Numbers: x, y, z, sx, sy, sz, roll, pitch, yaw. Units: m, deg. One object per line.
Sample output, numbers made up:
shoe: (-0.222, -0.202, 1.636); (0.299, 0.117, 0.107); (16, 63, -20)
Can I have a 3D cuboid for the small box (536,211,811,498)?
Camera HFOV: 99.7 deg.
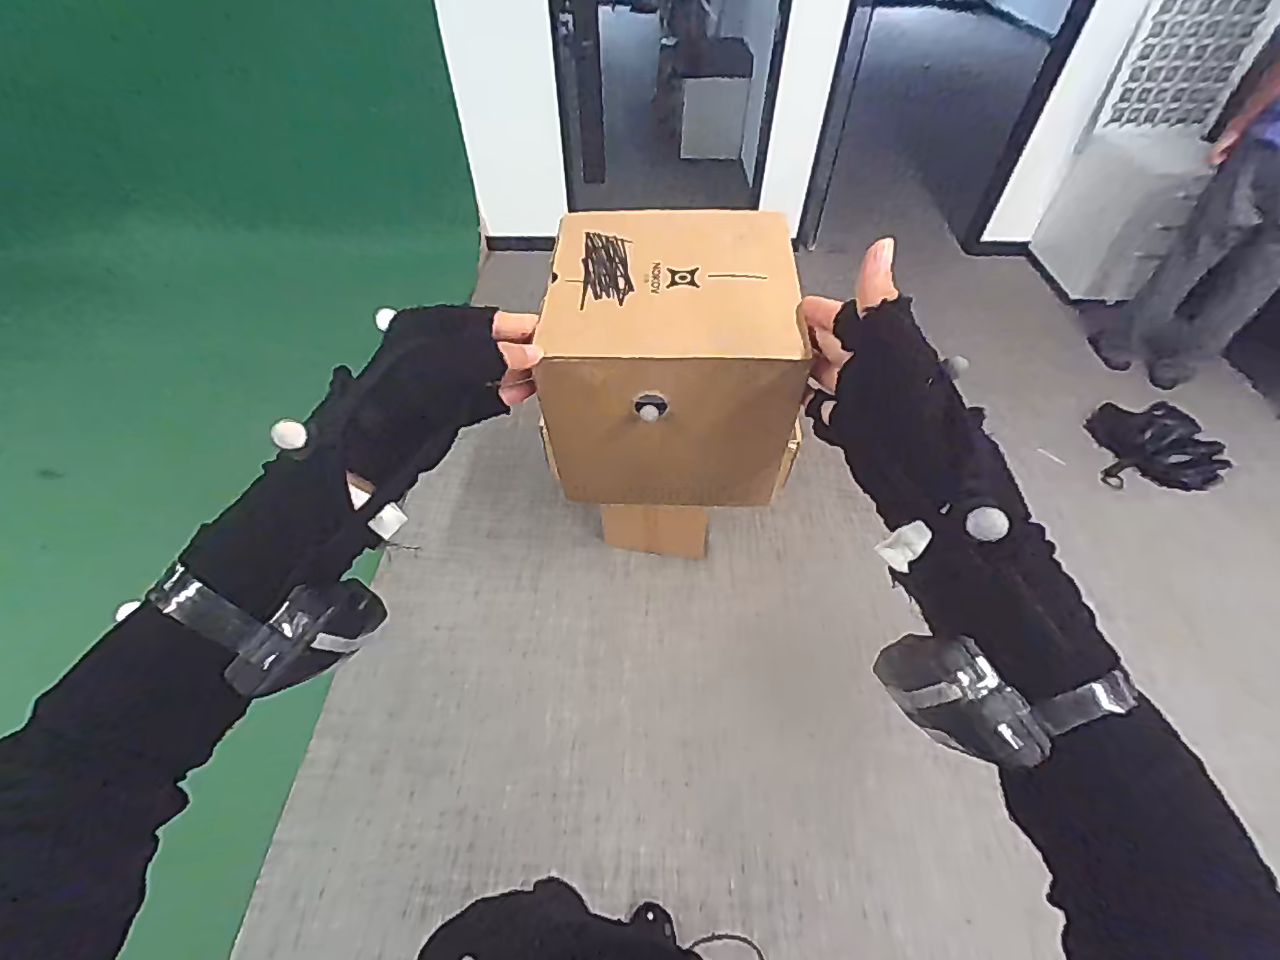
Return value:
small box: (0.028, -0.096, 0.446); (0.179, 0.176, 0.168); (1, 56, 3)
